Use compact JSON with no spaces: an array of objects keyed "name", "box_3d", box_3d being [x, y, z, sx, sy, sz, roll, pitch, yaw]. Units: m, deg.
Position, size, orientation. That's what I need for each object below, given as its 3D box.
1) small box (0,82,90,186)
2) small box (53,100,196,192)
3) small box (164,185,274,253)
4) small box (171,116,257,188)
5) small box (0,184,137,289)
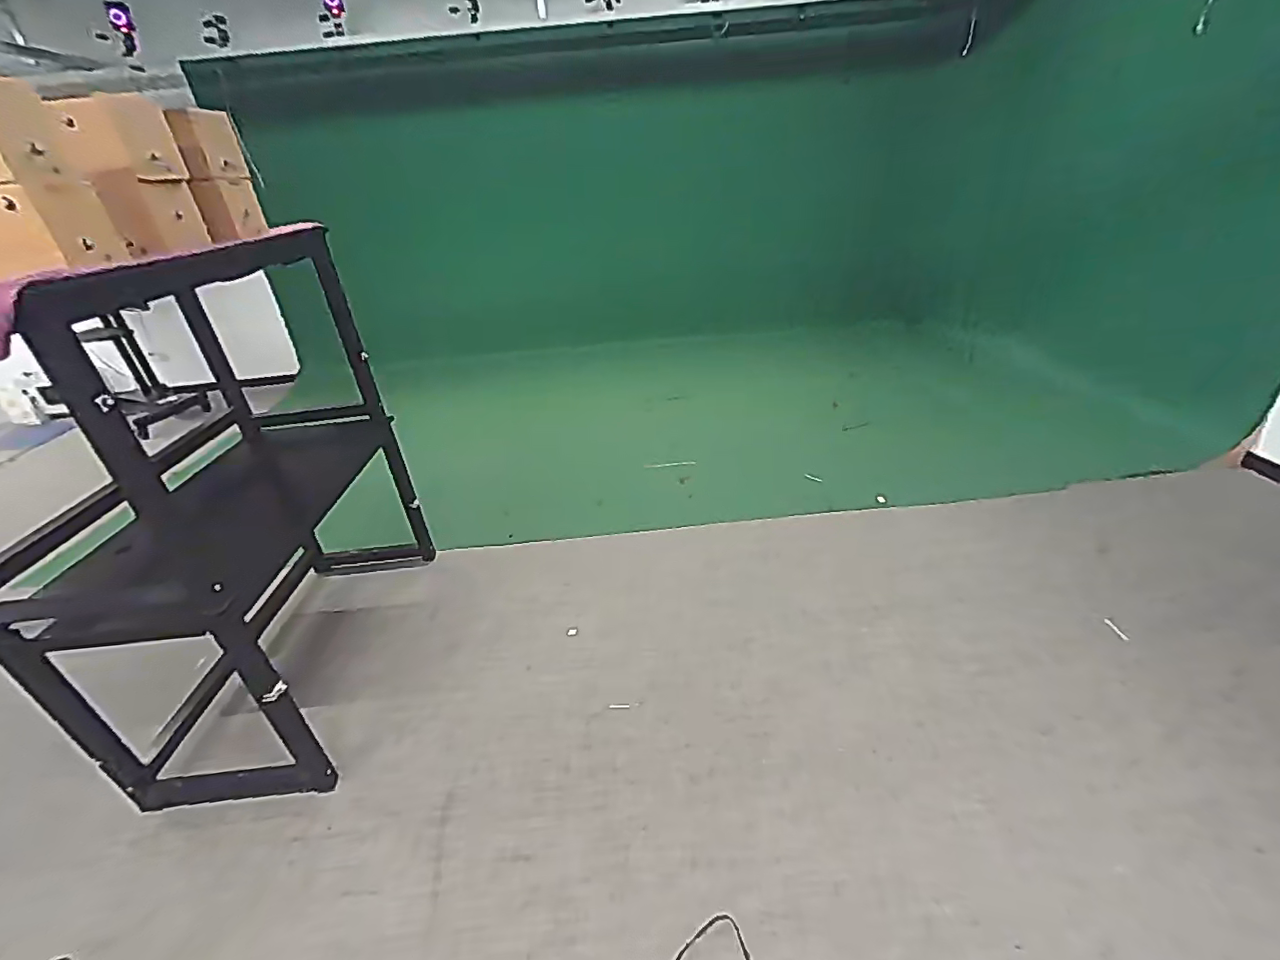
[{"name":"small box","box_3d":[-1.217,-0.632,1.008,0.179,0.176,0.168,-8,29,-4]},{"name":"small box","box_3d":[-1.236,-0.792,1.295,0.179,0.176,0.168,-3,30,2]},{"name":"small box","box_3d":[-1.249,-0.786,1.624,0.179,0.176,0.168,-5,29,-1]},{"name":"small box","box_3d":[-1.261,-0.932,1.552,0.179,0.176,0.168,-3,31,1]},{"name":"small box","box_3d":[-1.192,-0.488,1.086,0.179,0.176,0.168,-8,29,-4]}]
